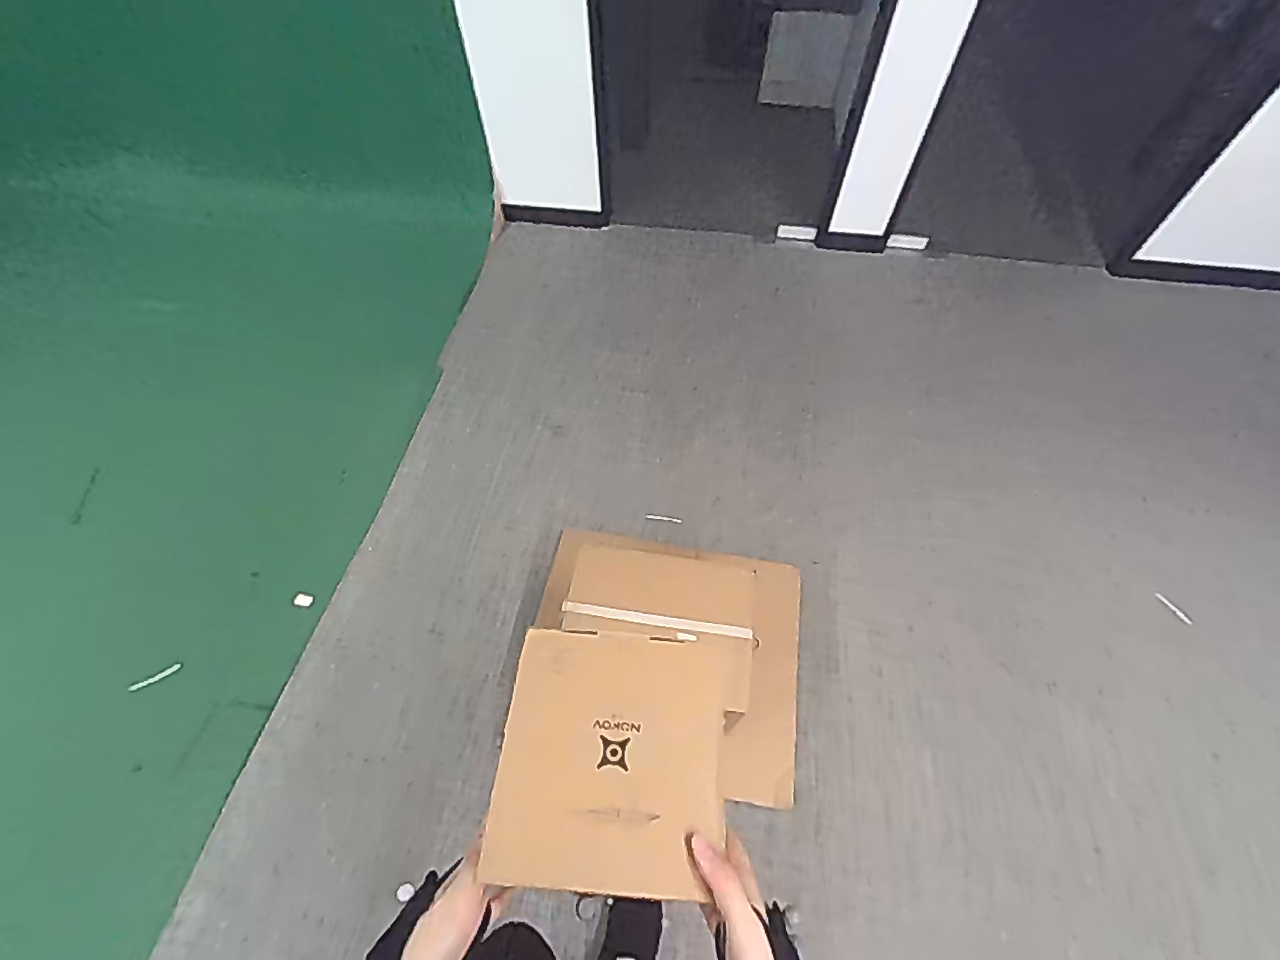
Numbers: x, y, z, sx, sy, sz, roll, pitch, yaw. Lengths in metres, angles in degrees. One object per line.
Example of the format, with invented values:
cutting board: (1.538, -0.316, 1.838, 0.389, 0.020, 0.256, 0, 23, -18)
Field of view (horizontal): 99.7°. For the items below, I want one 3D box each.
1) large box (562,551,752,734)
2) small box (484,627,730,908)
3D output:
large box: (0.030, 0.394, 1.269, 0.408, 0.320, 0.320, 8, 58, 4)
small box: (-0.021, 0.249, 0.465, 0.168, 0.176, 0.179, 5, 52, 0)
